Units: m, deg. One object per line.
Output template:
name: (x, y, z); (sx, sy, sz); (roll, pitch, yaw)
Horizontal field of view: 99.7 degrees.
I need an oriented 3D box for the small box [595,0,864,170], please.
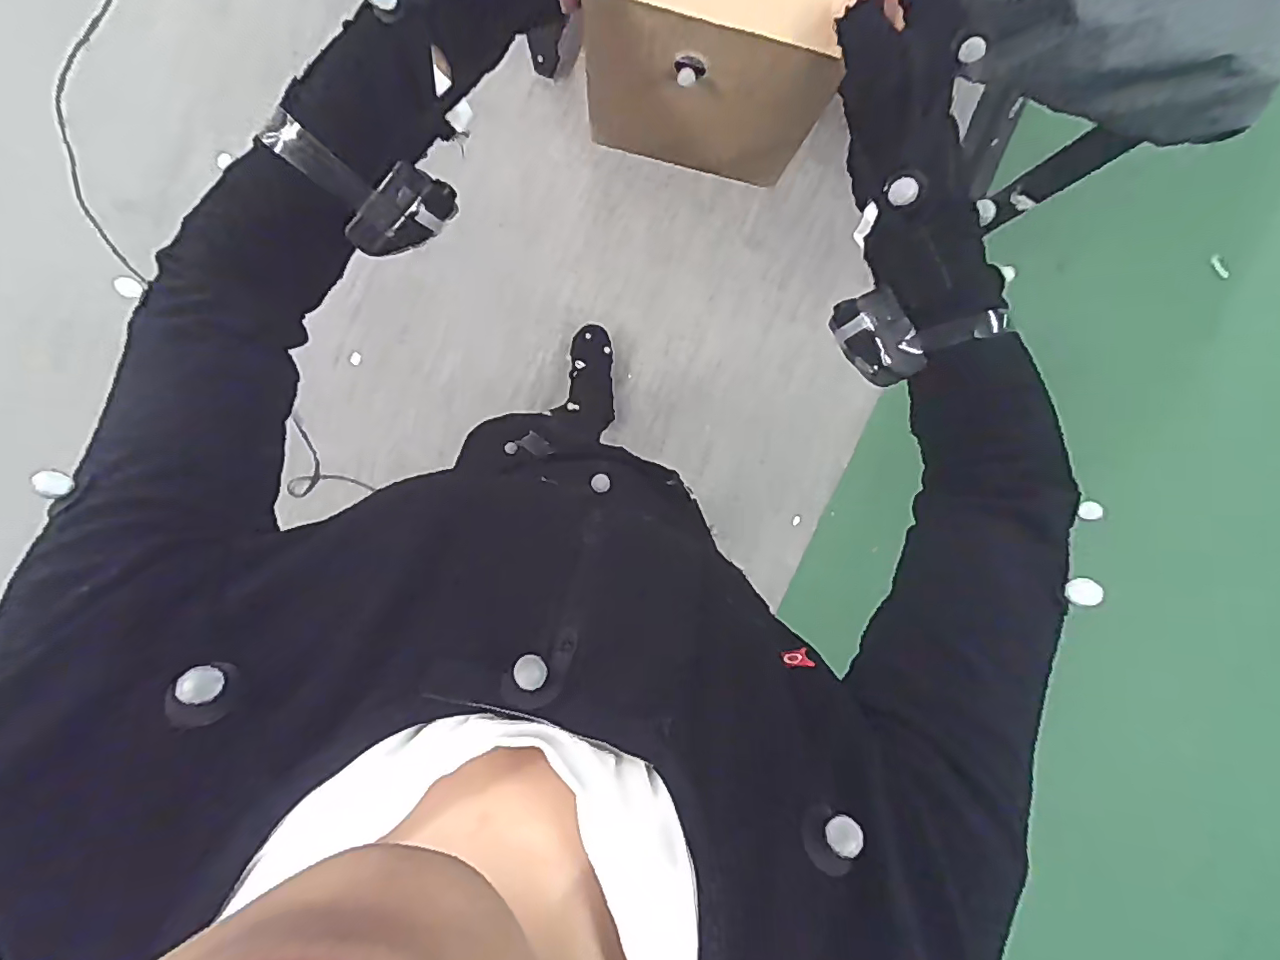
small box: (0.064, -0.372, 0.411); (0.179, 0.176, 0.168); (13, 92, -4)
